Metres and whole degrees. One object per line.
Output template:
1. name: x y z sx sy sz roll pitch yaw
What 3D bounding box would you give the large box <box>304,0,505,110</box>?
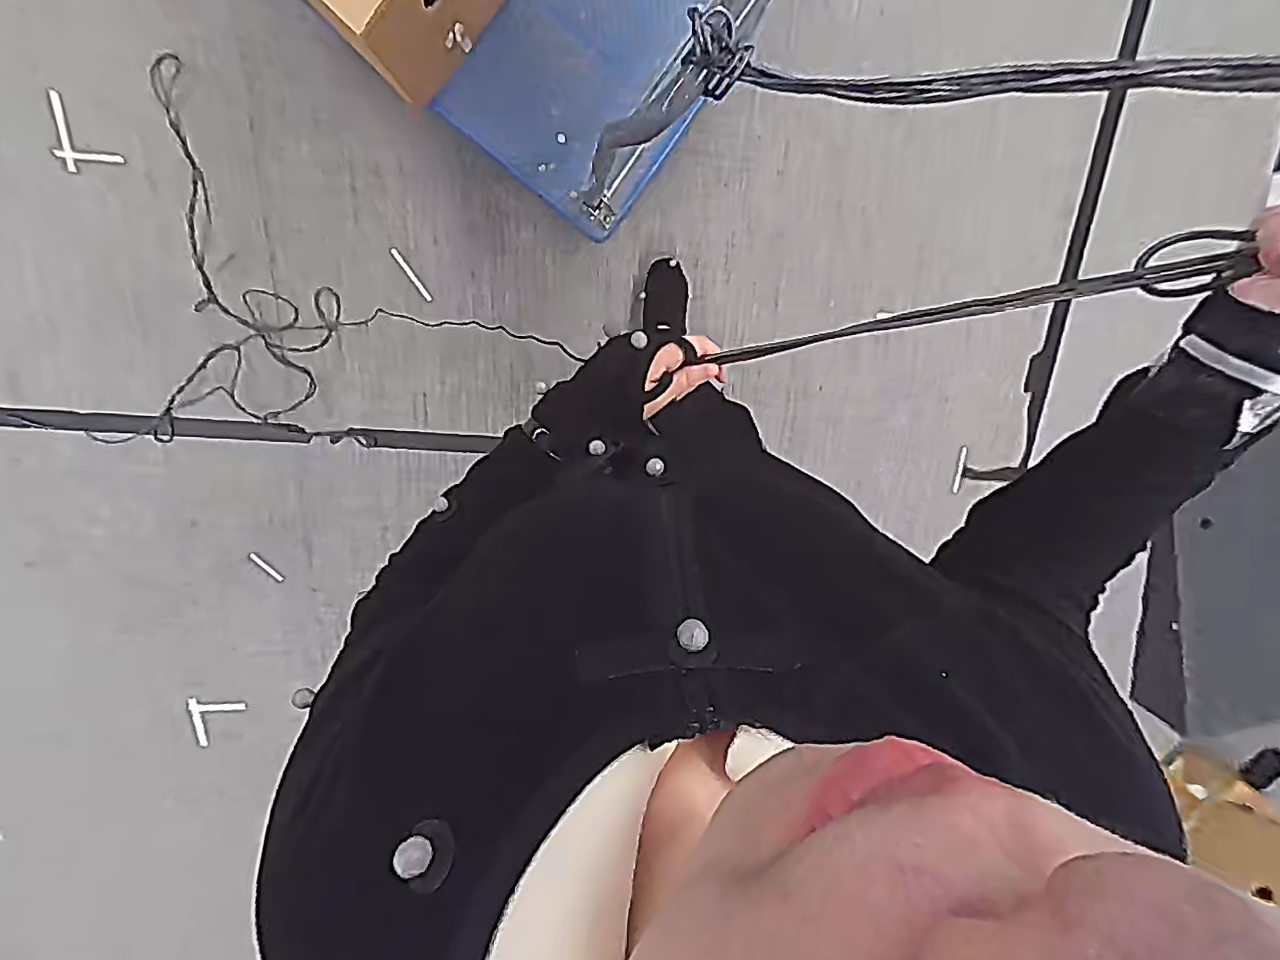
1. large box: -0.454 -0.905 0.842 0.408 0.320 0.320 41 98 -15
